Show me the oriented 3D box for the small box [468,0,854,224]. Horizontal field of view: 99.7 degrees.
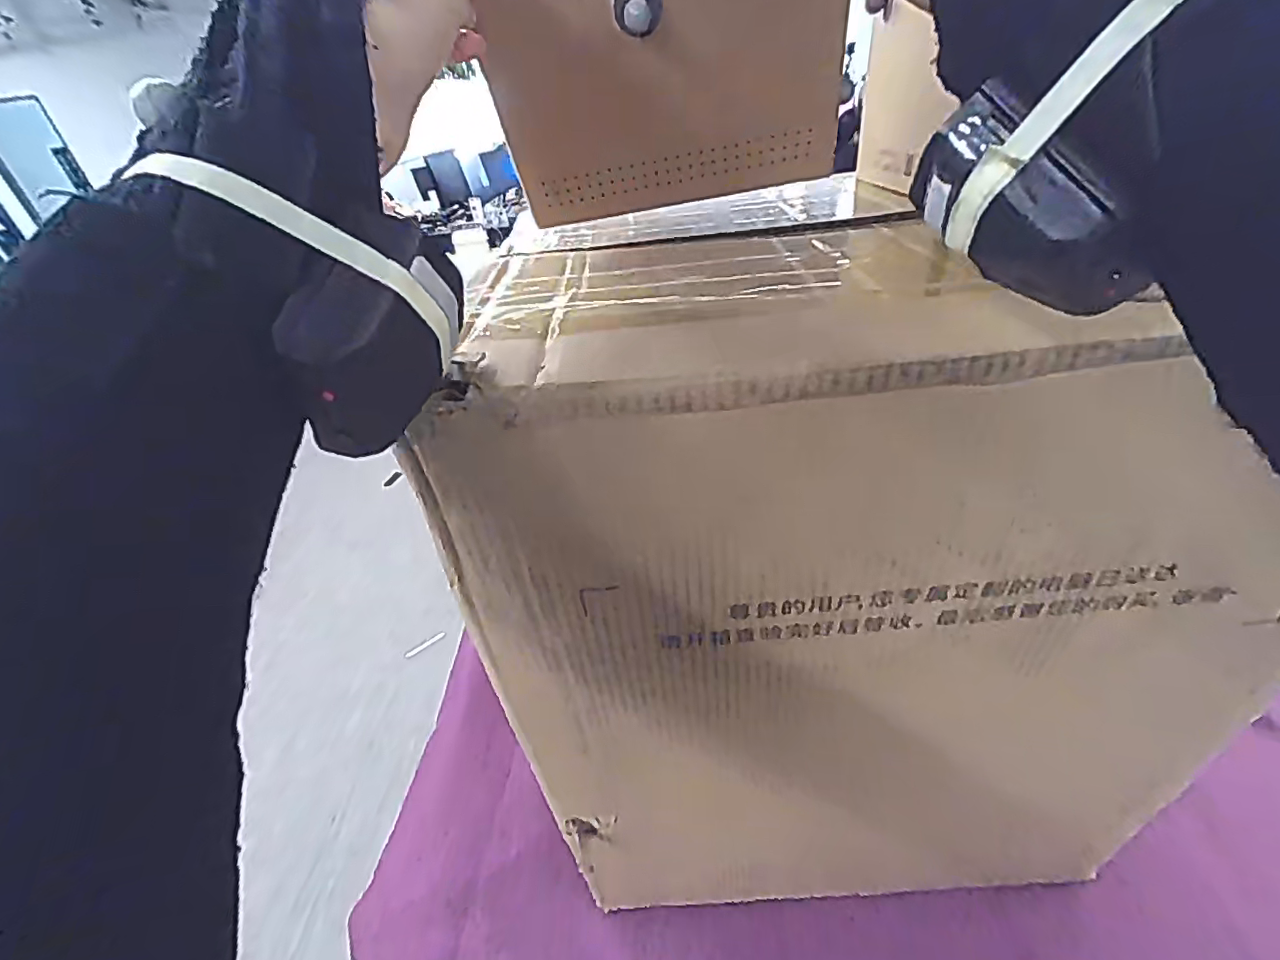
[{"bbox_3d":[0.014,-0.270,0.293,0.179,0.176,0.168,-7,55,8],"label":"small box"}]
